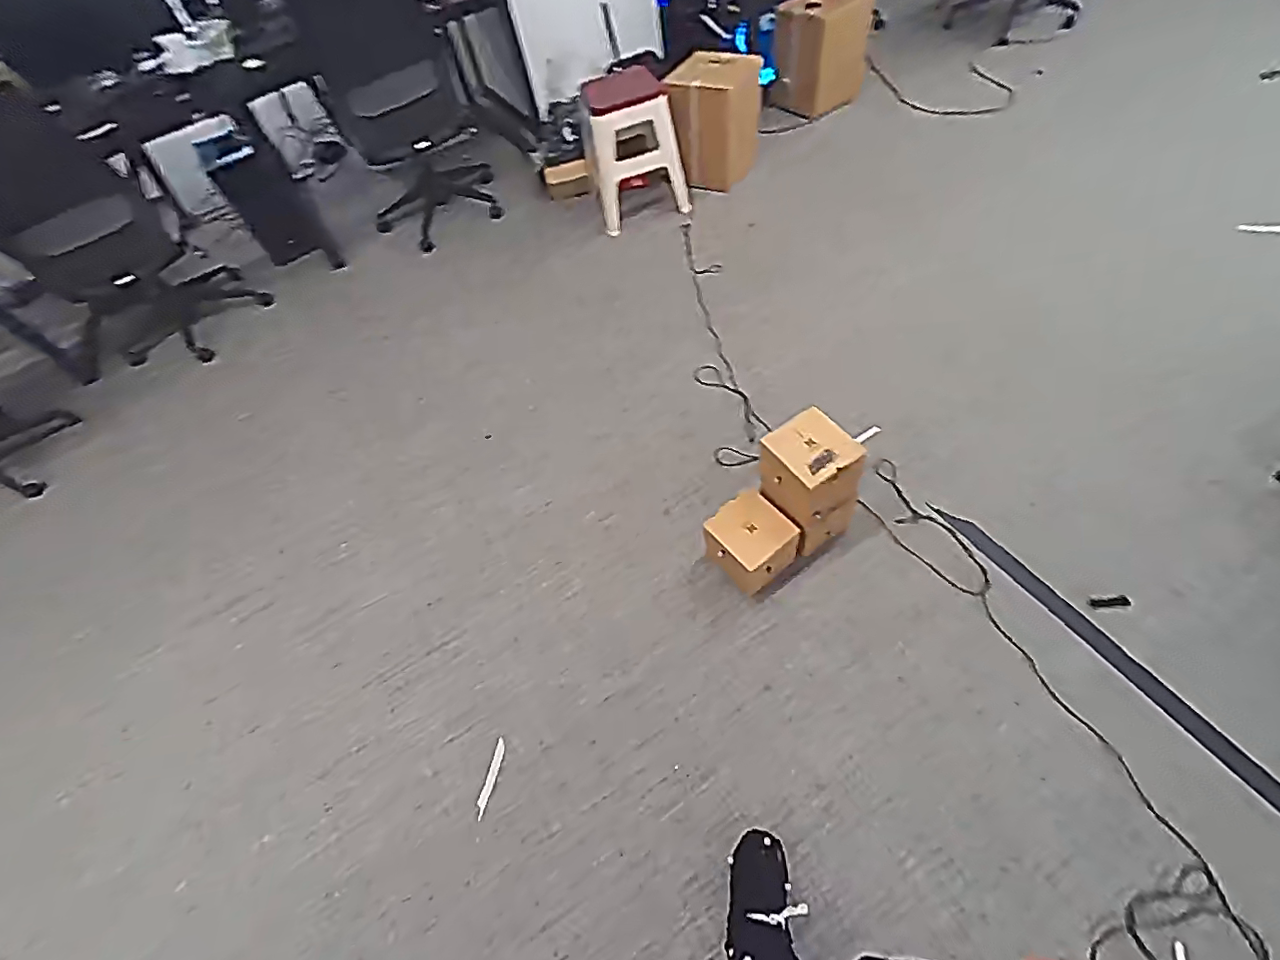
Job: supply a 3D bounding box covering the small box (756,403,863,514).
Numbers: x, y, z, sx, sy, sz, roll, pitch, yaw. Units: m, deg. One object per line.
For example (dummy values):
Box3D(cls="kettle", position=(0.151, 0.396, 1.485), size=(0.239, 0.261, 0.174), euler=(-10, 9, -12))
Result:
Box3D(cls="small box", position=(0.393, -0.042, 1.278), size=(0.168, 0.176, 0.179), euler=(-32, 56, -10))
